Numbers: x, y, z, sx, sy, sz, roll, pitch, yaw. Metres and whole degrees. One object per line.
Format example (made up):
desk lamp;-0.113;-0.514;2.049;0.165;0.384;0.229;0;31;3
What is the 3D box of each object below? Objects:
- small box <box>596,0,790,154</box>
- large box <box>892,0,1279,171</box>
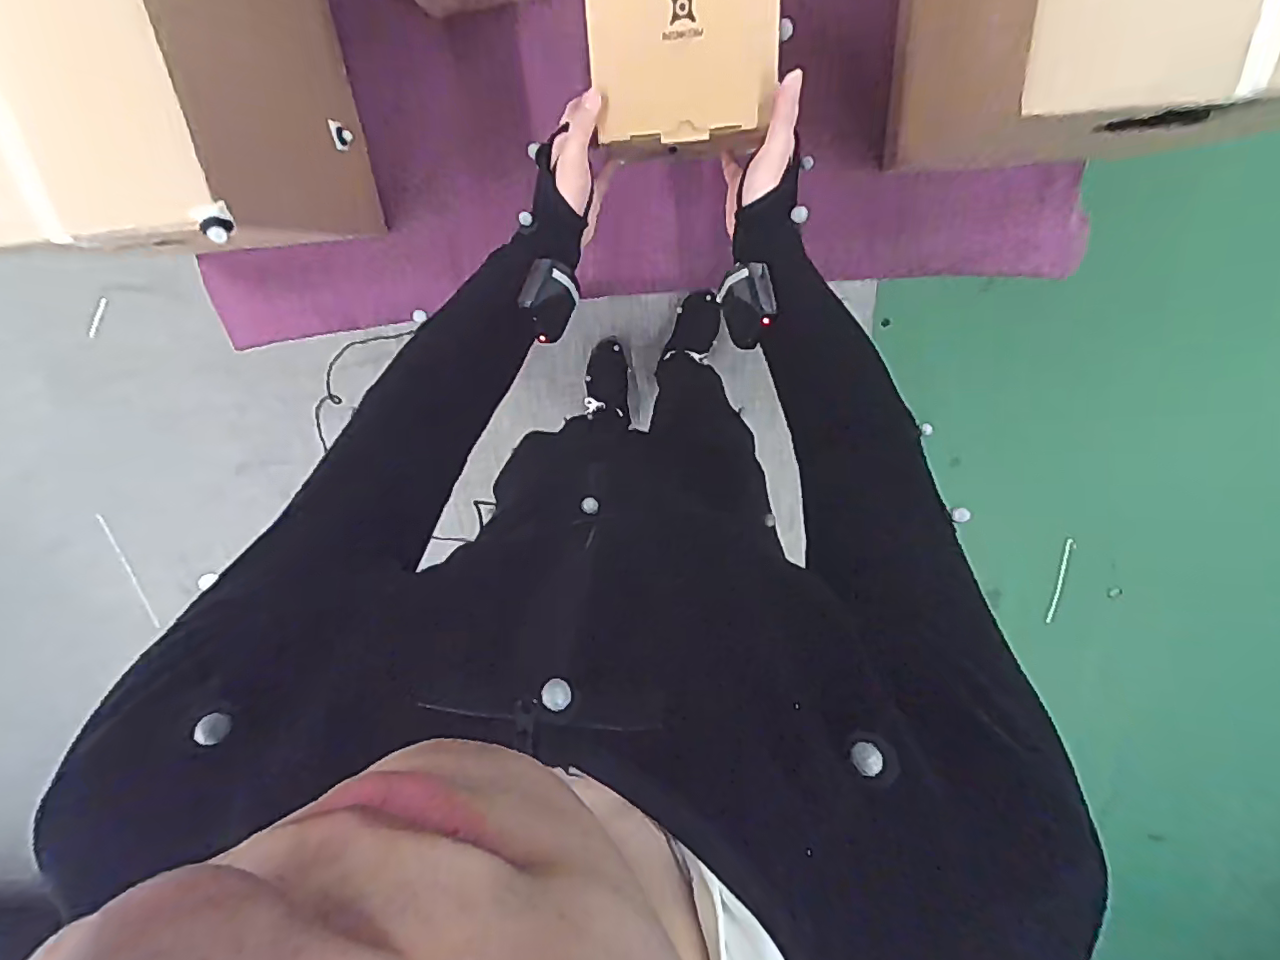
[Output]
small box;0.047;-0.432;0.525;0.168;0.176;0.179;-3;116;5
large box;0.445;-0.526;0.468;0.320;0.320;0.408;-2;113;6
